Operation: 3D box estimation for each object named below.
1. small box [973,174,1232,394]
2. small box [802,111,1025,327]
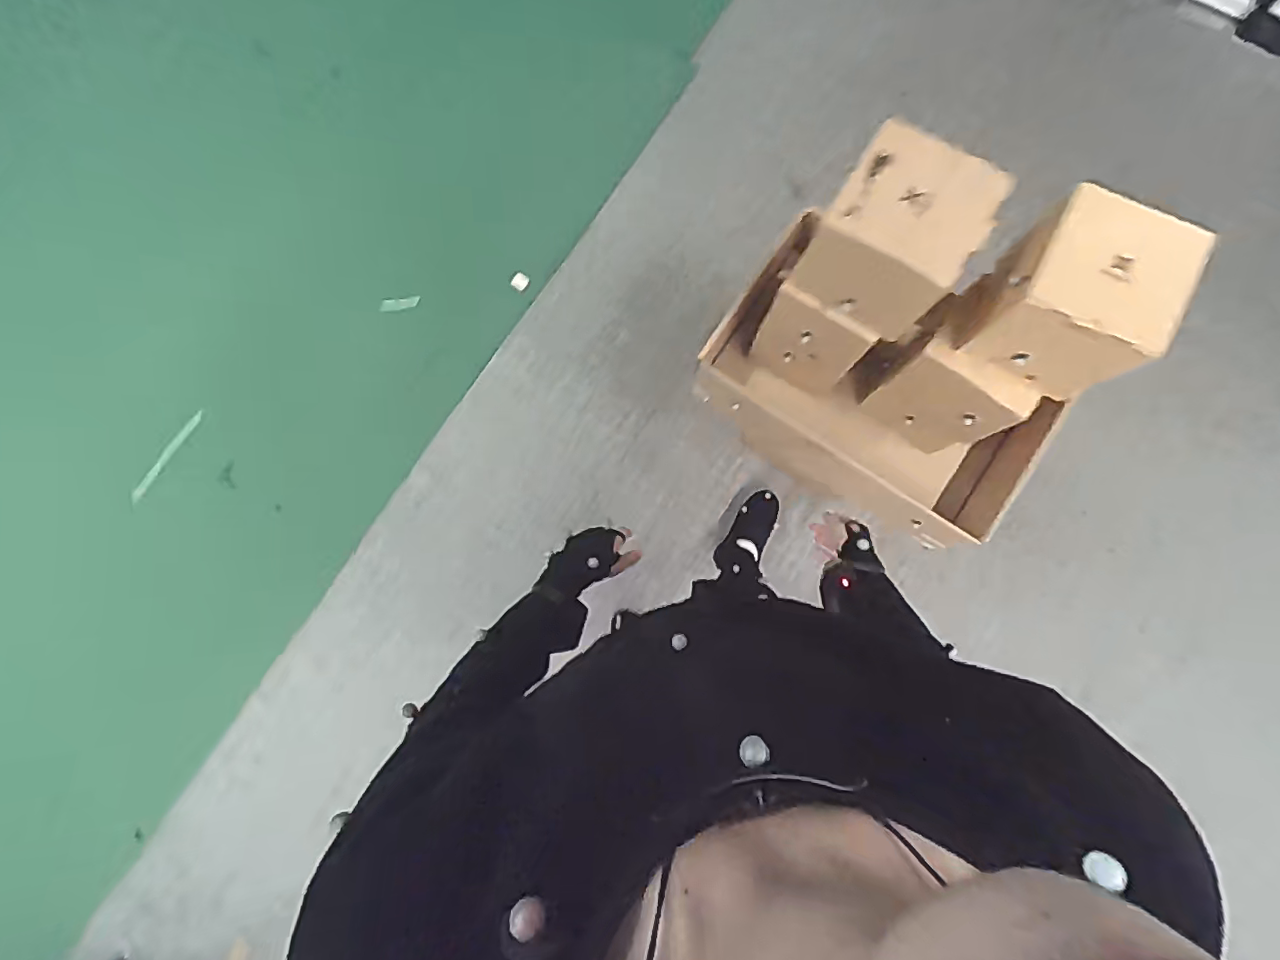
[{"bbox_3d":[0.580,-0.241,0.705,0.168,0.176,0.179,28,84,7],"label":"small box"},{"bbox_3d":[0.349,-0.331,0.726,0.179,0.176,0.168,33,85,6],"label":"small box"}]
